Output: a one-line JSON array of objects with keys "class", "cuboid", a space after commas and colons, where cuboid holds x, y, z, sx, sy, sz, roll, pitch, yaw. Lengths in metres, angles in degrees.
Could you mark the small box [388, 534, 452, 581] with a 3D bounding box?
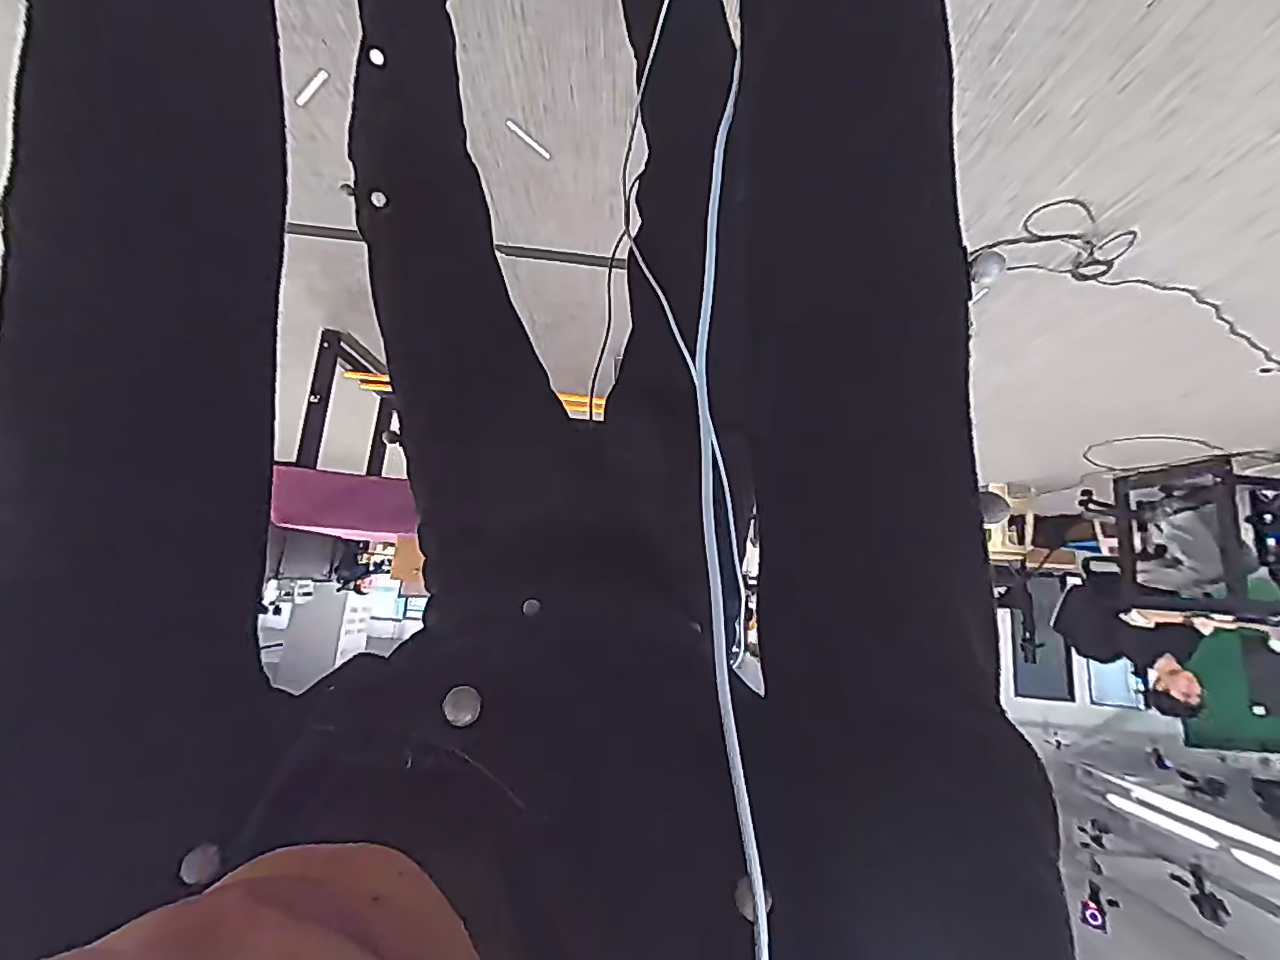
[{"class": "small box", "cuboid": [-0.846, 0.300, 2.094, 0.179, 0.176, 0.168, 5, 169, -5]}]
